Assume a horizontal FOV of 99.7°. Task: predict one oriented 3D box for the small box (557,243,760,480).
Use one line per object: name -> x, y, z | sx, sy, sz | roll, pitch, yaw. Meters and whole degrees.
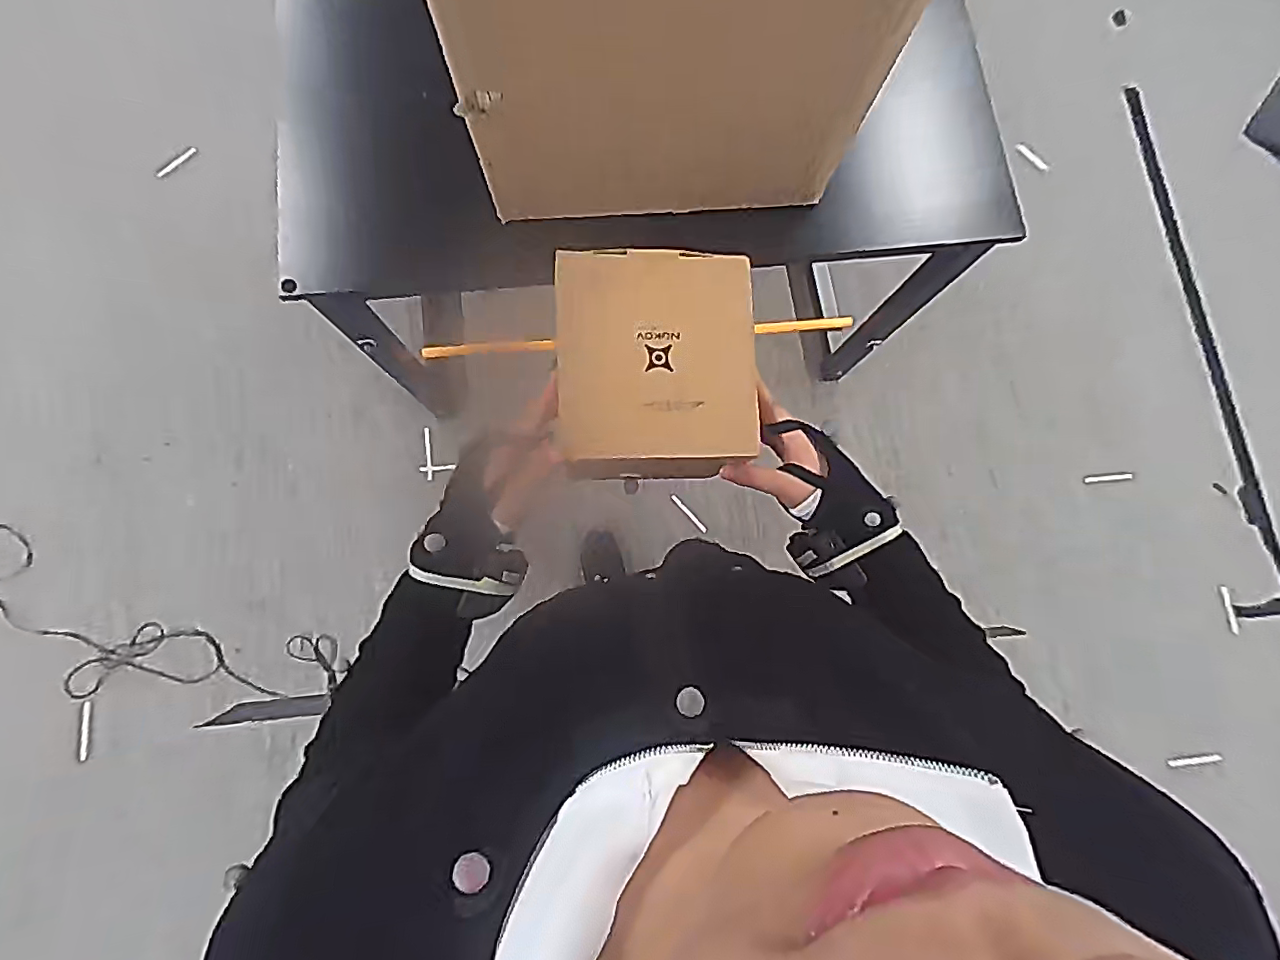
small box -> 0.005, -0.097, 0.515 | 0.168, 0.176, 0.179 | -1, 84, -7
